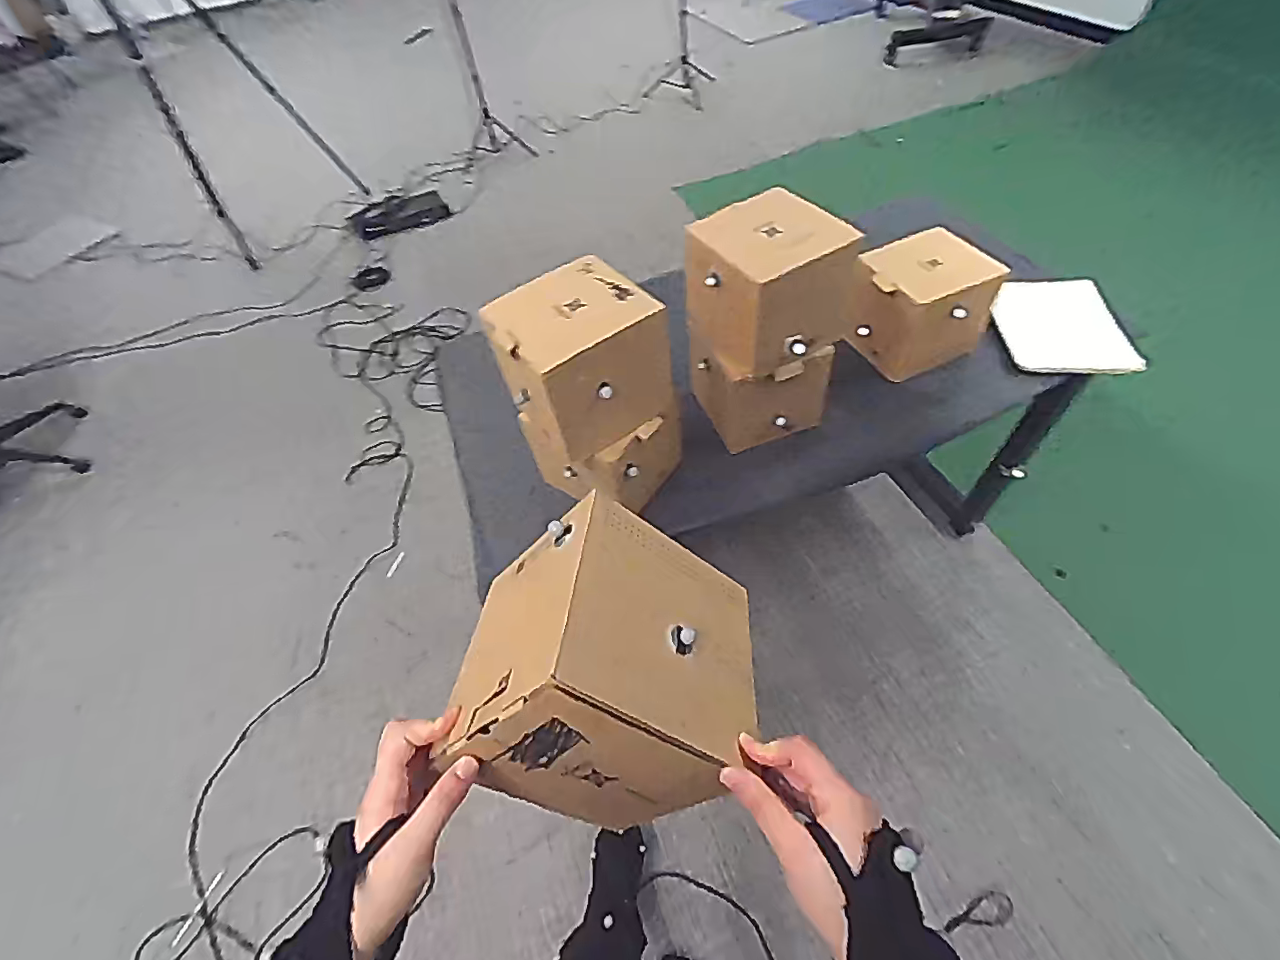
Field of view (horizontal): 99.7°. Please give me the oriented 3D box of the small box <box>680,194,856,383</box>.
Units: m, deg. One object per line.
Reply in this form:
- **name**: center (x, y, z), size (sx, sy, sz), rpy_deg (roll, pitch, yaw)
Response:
- **small box**: center (0.174, -0.273, 0.781), size (0.168, 0.176, 0.179), rpy_deg (-29, 55, -12)

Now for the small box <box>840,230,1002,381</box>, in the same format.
- **small box**: center (0.485, -0.309, 0.967), size (0.179, 0.176, 0.168), rpy_deg (-23, 53, -8)

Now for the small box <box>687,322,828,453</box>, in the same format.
- **small box**: center (0.187, -0.177, 0.910), size (0.168, 0.176, 0.179), rpy_deg (-20, 53, -6)

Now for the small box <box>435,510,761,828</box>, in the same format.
- **small box**: center (-0.027, 0.149, 0.441), size (0.168, 0.179, 0.176), rpy_deg (-41, 26, 33)

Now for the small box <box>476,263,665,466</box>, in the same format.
- **small box**: center (-0.082, -0.150, 0.724), size (0.179, 0.176, 0.168), rpy_deg (-34, 56, -16)
